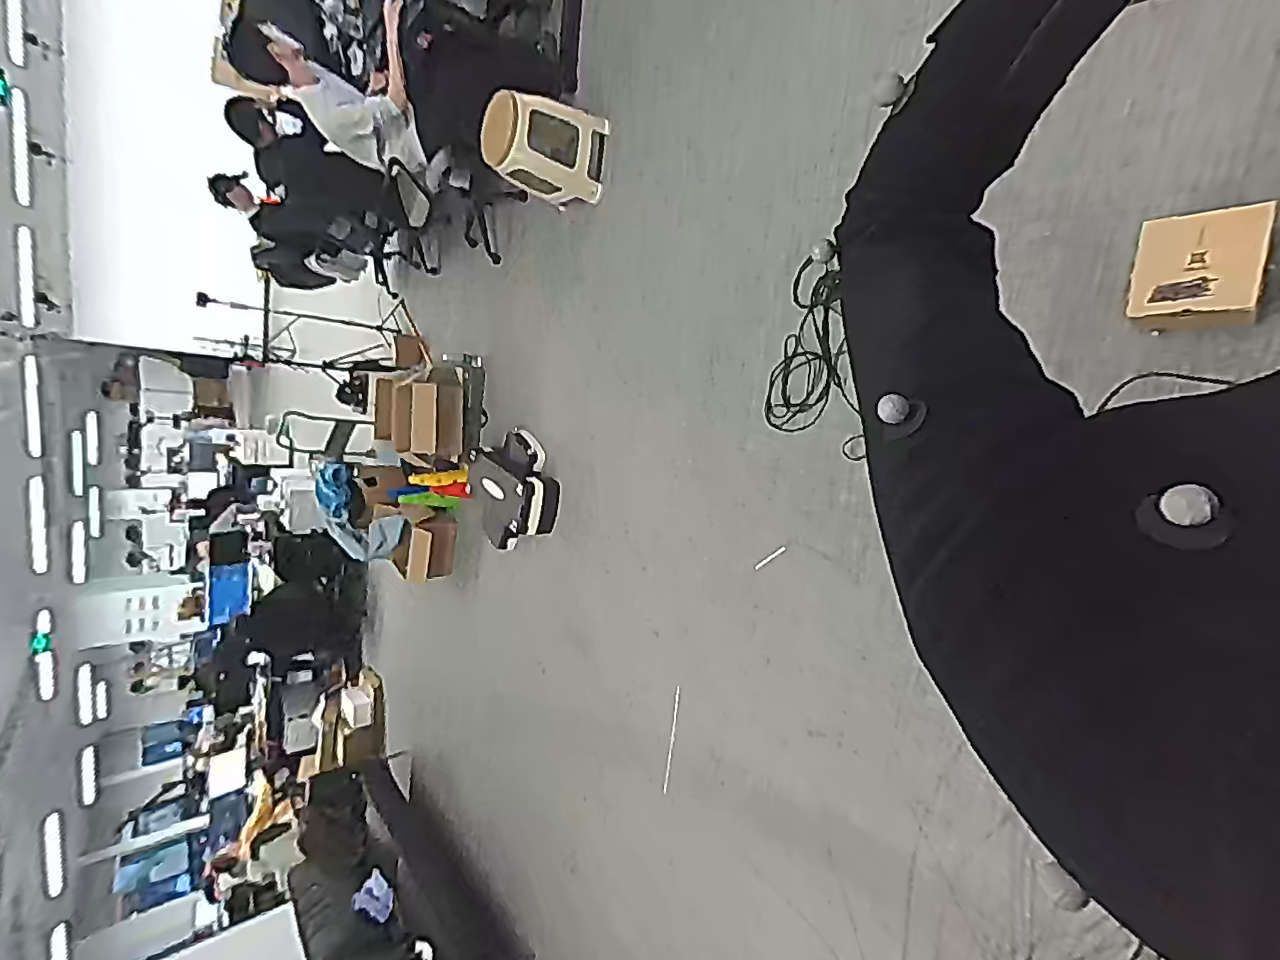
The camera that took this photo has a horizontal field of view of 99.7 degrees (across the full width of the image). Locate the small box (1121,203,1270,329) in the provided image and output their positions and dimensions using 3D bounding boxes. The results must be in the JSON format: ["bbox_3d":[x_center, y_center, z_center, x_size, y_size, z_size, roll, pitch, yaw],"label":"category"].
[{"bbox_3d":[1.030,-0.382,1.005,0.168,0.176,0.179,12,99,47],"label":"small box"}]
